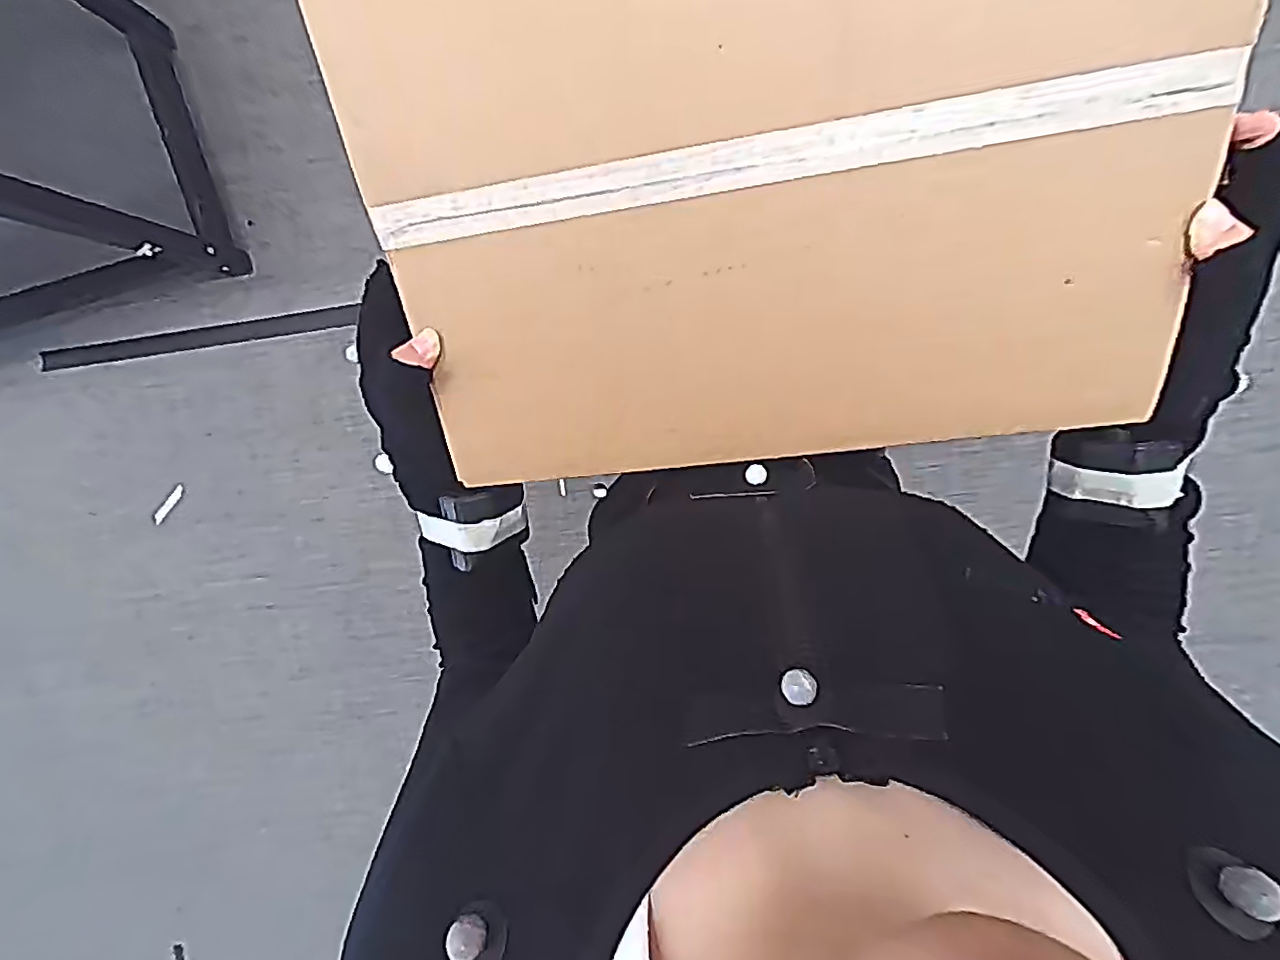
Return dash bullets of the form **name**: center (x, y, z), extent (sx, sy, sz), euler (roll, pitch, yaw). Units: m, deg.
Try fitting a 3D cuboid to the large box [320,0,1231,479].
- **large box**: center (0.069, -0.222, 0.404), extent (0.408, 0.320, 0.320), euler (-6, 117, 8)
